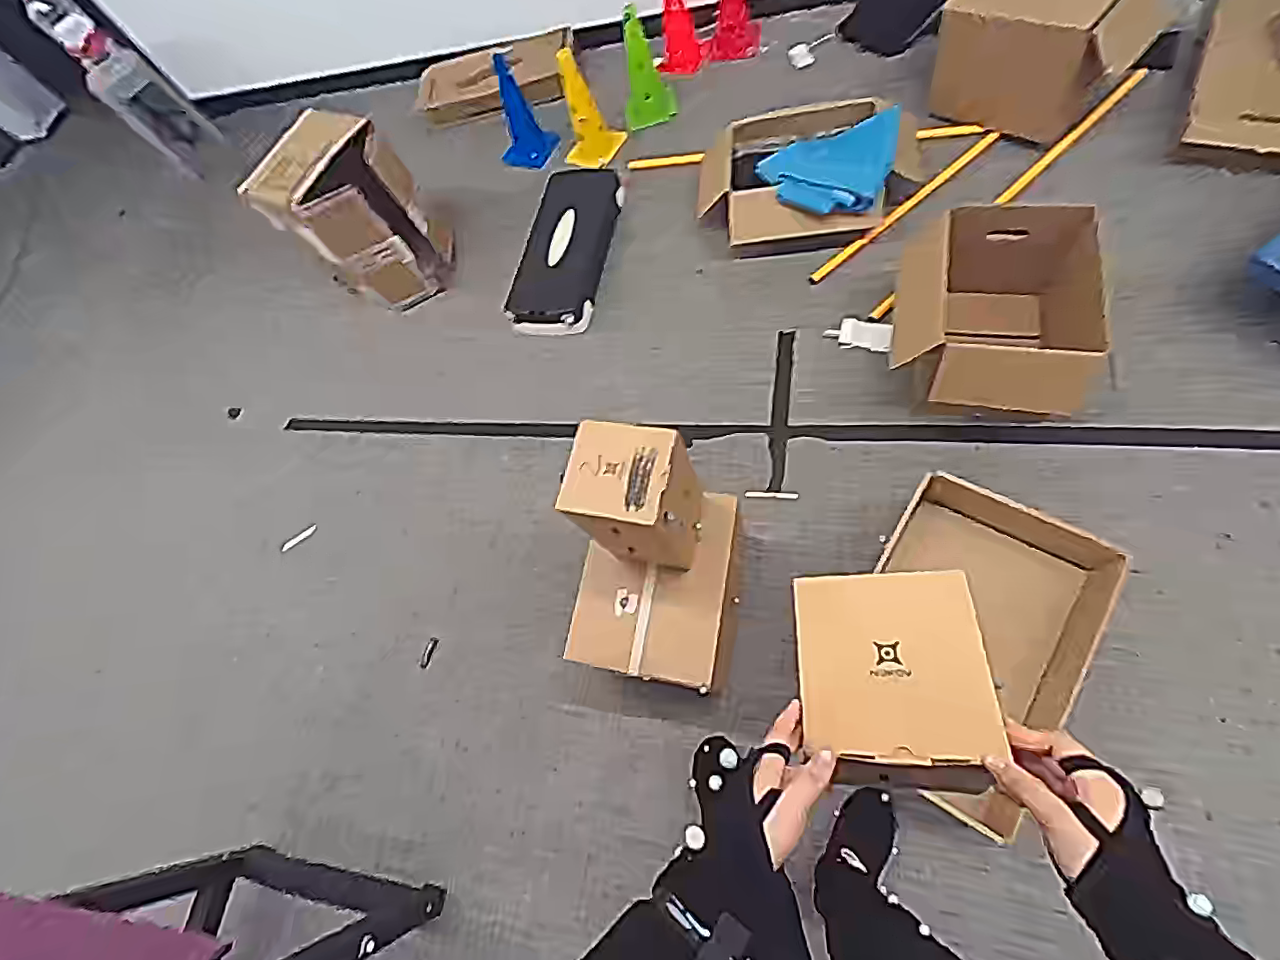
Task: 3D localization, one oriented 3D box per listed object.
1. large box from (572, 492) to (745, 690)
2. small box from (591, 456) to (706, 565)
[{"bbox_3d":[0.069,0.257,1.279,0.320,0.320,0.408,5,70,18],"label":"large box"},{"bbox_3d":[0.025,0.066,1.095,0.179,0.176,0.168,8,72,18],"label":"small box"}]
